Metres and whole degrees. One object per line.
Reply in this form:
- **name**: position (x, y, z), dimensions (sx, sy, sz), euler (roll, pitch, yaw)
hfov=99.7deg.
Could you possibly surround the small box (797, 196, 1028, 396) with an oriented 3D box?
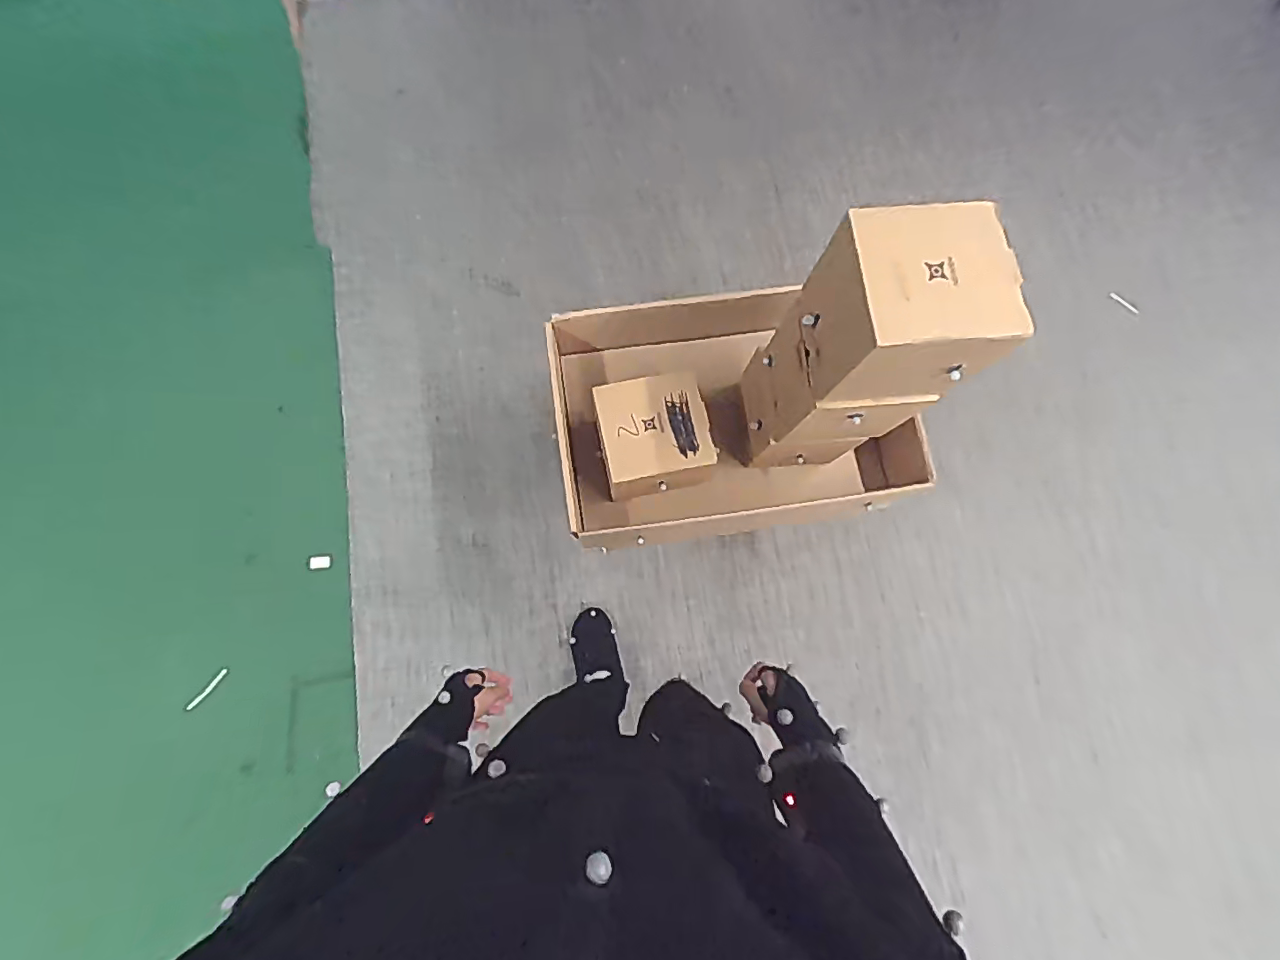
- **small box**: position (0.311, -0.212, 0.655), dimensions (0.179, 0.176, 0.168), euler (-5, 77, -3)

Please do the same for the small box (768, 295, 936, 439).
- **small box**: position (0.300, -0.166, 0.811), dimensions (0.179, 0.176, 0.168), euler (-5, 77, -4)

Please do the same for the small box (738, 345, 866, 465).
- **small box**: position (0.280, -0.129, 0.971), dimensions (0.168, 0.176, 0.179), euler (-3, 77, -3)
